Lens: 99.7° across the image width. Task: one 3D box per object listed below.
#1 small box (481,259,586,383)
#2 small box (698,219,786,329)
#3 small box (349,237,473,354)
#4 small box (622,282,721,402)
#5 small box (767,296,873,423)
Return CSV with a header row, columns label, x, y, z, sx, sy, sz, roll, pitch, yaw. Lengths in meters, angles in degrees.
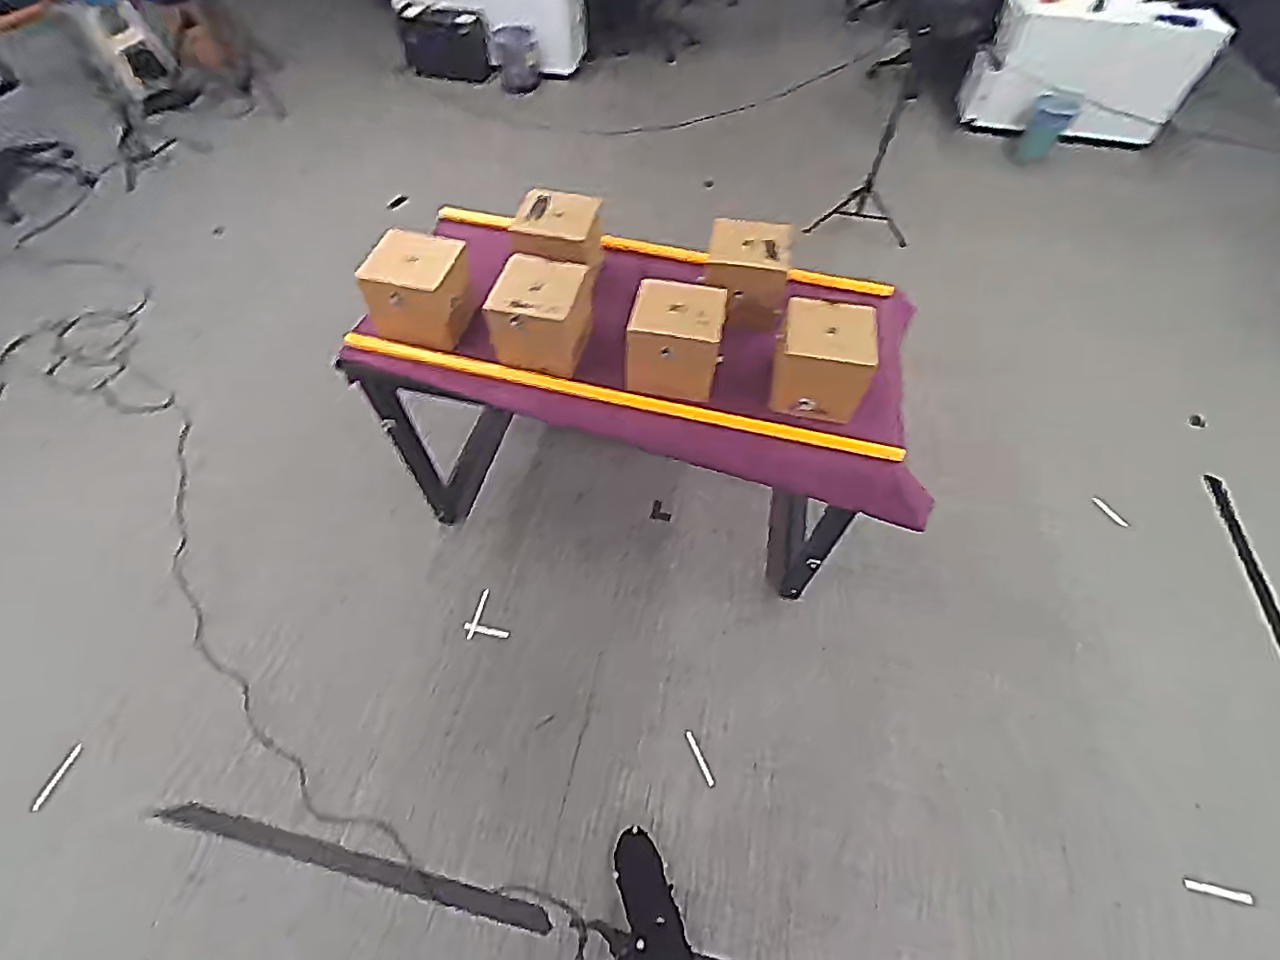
label,x,y,z,sx,sy,sz,roll,pitch,yaw
small box,-0.216,-0.337,1.153,0.168,0.176,0.179,10,57,6
small box,0.229,-0.471,1.251,0.179,0.176,0.168,8,58,5
small box,-0.487,-0.399,1.187,0.179,0.176,0.168,10,56,5
small box,0.064,-0.283,1.123,0.179,0.176,0.168,10,55,5
small box,0.359,-0.244,1.102,0.168,0.176,0.179,9,55,7
